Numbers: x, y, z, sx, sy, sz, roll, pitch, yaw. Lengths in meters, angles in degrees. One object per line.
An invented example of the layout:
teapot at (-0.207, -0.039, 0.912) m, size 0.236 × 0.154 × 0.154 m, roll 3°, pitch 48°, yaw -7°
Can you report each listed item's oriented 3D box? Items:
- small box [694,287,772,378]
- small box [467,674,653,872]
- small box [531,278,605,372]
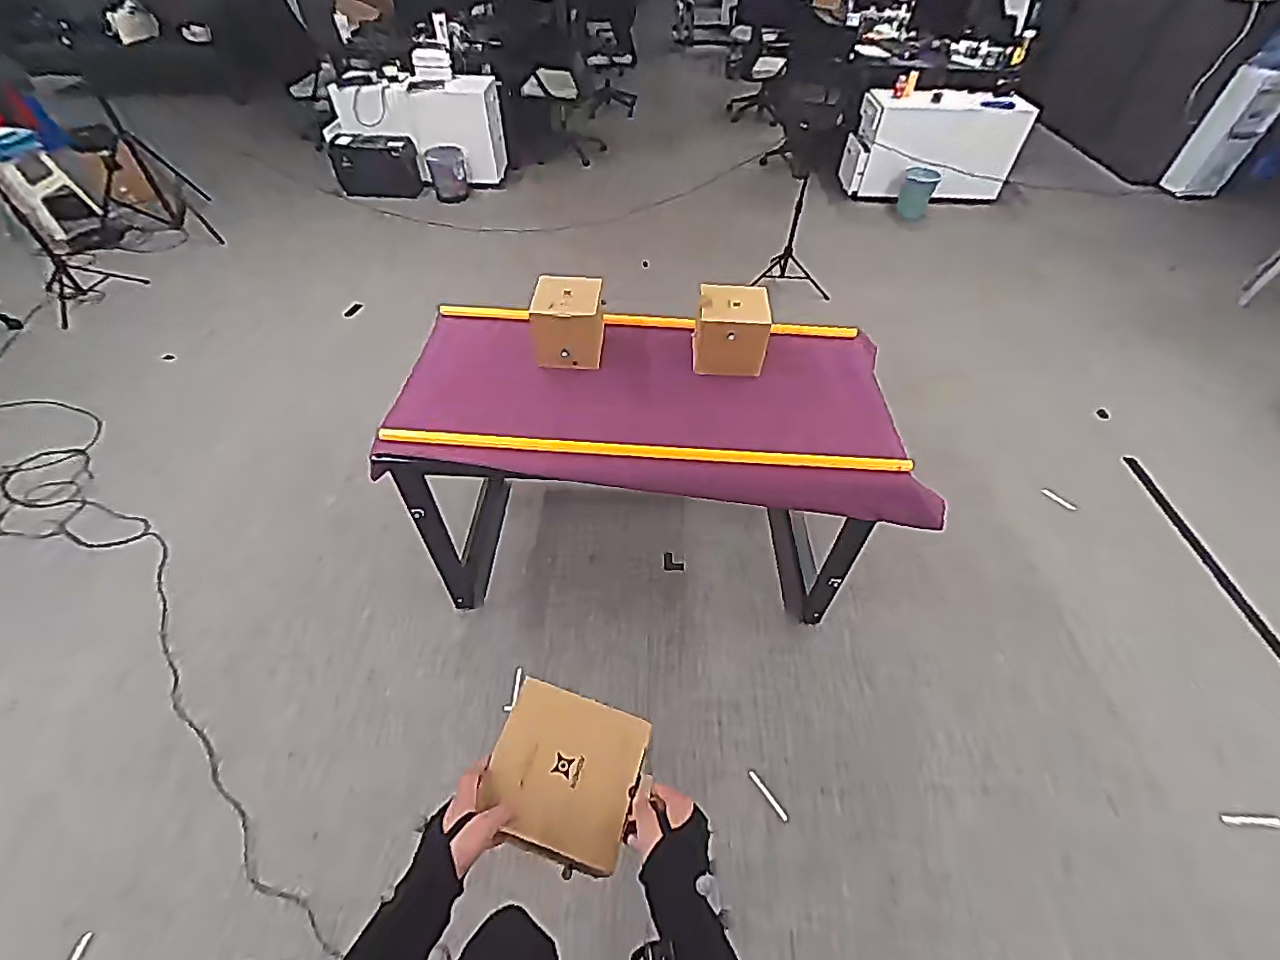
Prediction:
small box at (0.239, -0.386, 1.425) m, size 0.179 × 0.176 × 0.168 m, roll 3°, pitch 50°, yaw 2°
small box at (-0.102, 0.382, 0.703) m, size 0.179 × 0.176 × 0.168 m, roll 20°, pitch 51°, yaw 2°
small box at (-0.184, -0.409, 1.431) m, size 0.168 × 0.176 × 0.179 m, roll 3°, pitch 51°, yaw 1°
